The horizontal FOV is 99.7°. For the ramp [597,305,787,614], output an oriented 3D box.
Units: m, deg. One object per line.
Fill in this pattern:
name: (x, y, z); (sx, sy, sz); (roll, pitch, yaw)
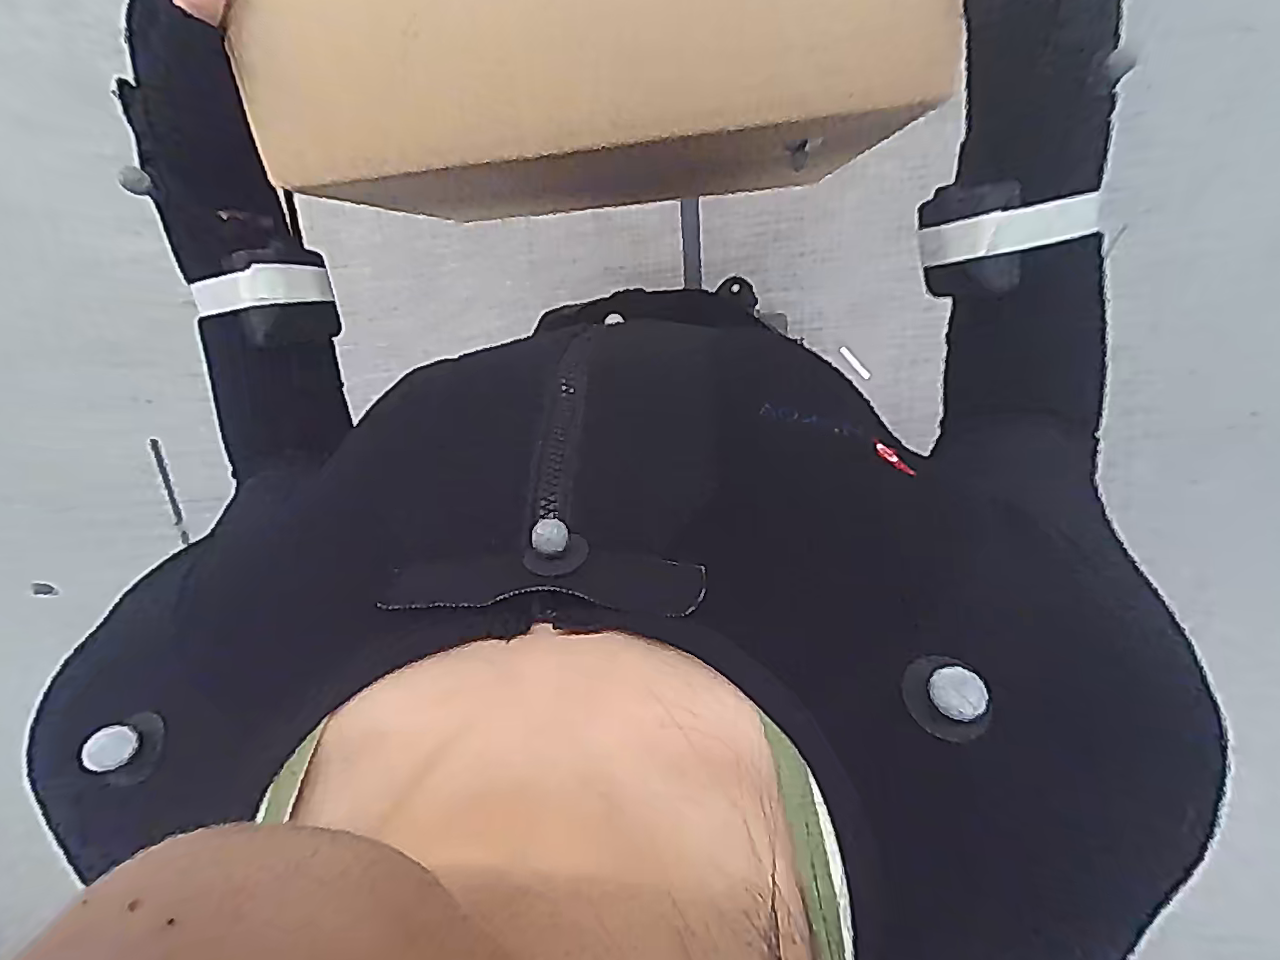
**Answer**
ramp: (0.185, 0.010, 1.609); (0.509, 0.206, 0.991); (-5, 108, 7)

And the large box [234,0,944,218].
large box: (-0.031, -0.399, 0.411); (0.408, 0.320, 0.320); (-4, 111, 6)
